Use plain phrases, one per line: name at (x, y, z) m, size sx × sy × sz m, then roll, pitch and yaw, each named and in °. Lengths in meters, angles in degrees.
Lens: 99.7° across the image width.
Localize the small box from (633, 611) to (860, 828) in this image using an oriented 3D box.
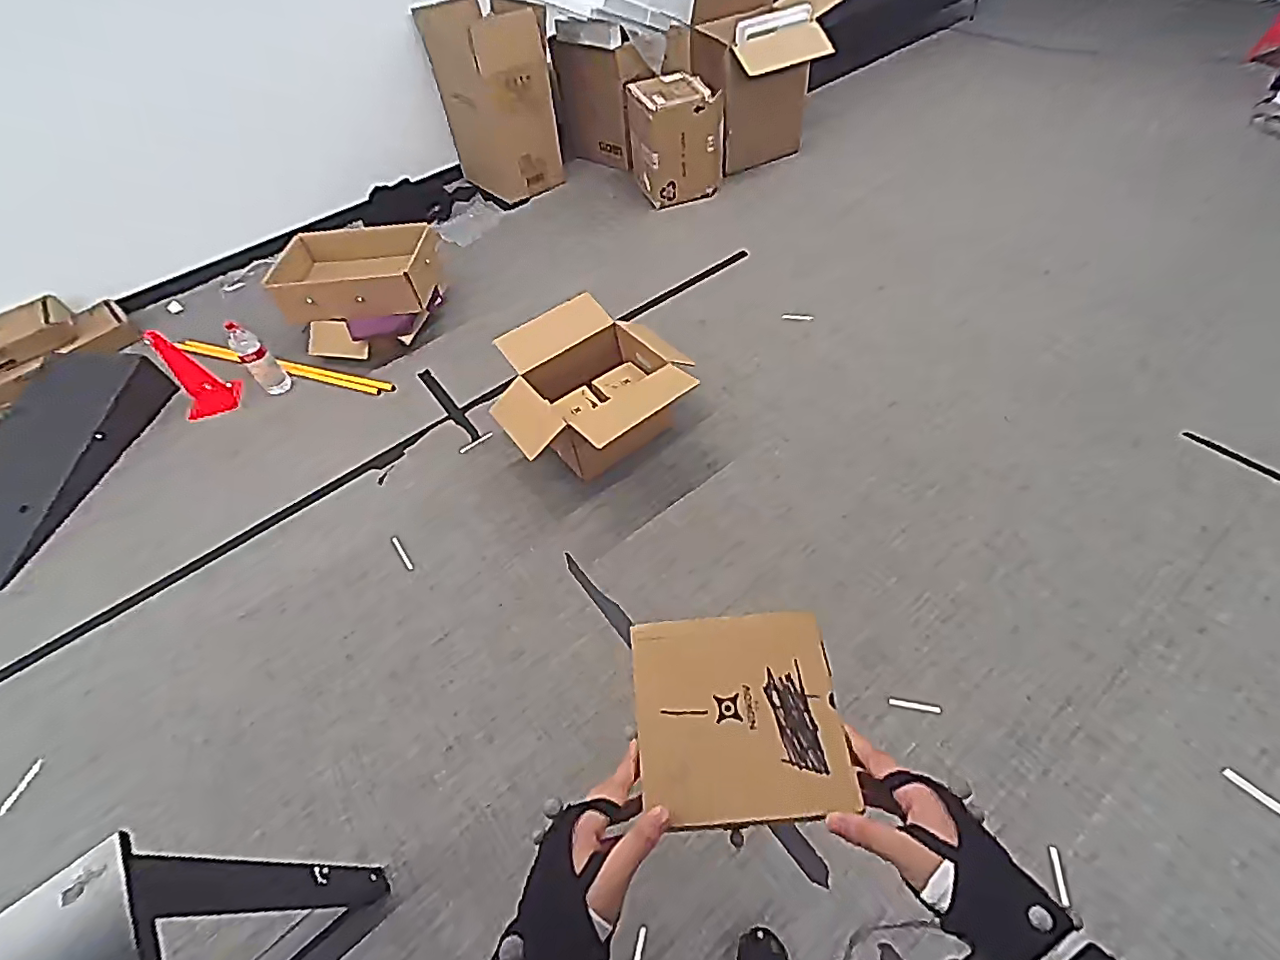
small box at (0.086, 0.240, 0.533) m, size 0.179 × 0.176 × 0.168 m, roll -5°, pitch 56°, yaw 0°
